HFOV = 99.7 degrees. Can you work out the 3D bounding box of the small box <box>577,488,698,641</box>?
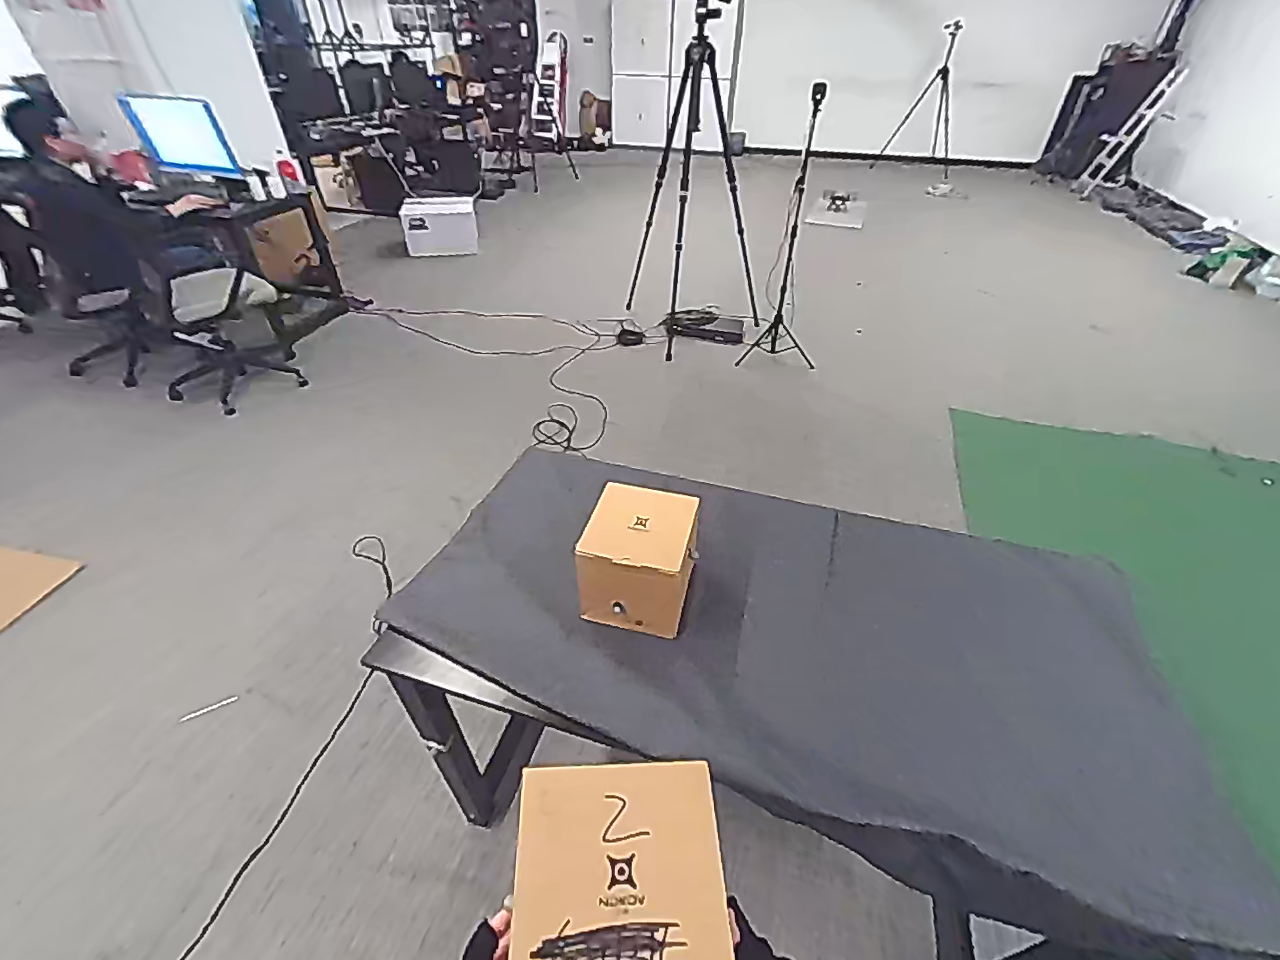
[{"bbox_3d":[-0.002,0.143,0.932,0.168,0.176,0.179,11,41,10],"label":"small box"}]
